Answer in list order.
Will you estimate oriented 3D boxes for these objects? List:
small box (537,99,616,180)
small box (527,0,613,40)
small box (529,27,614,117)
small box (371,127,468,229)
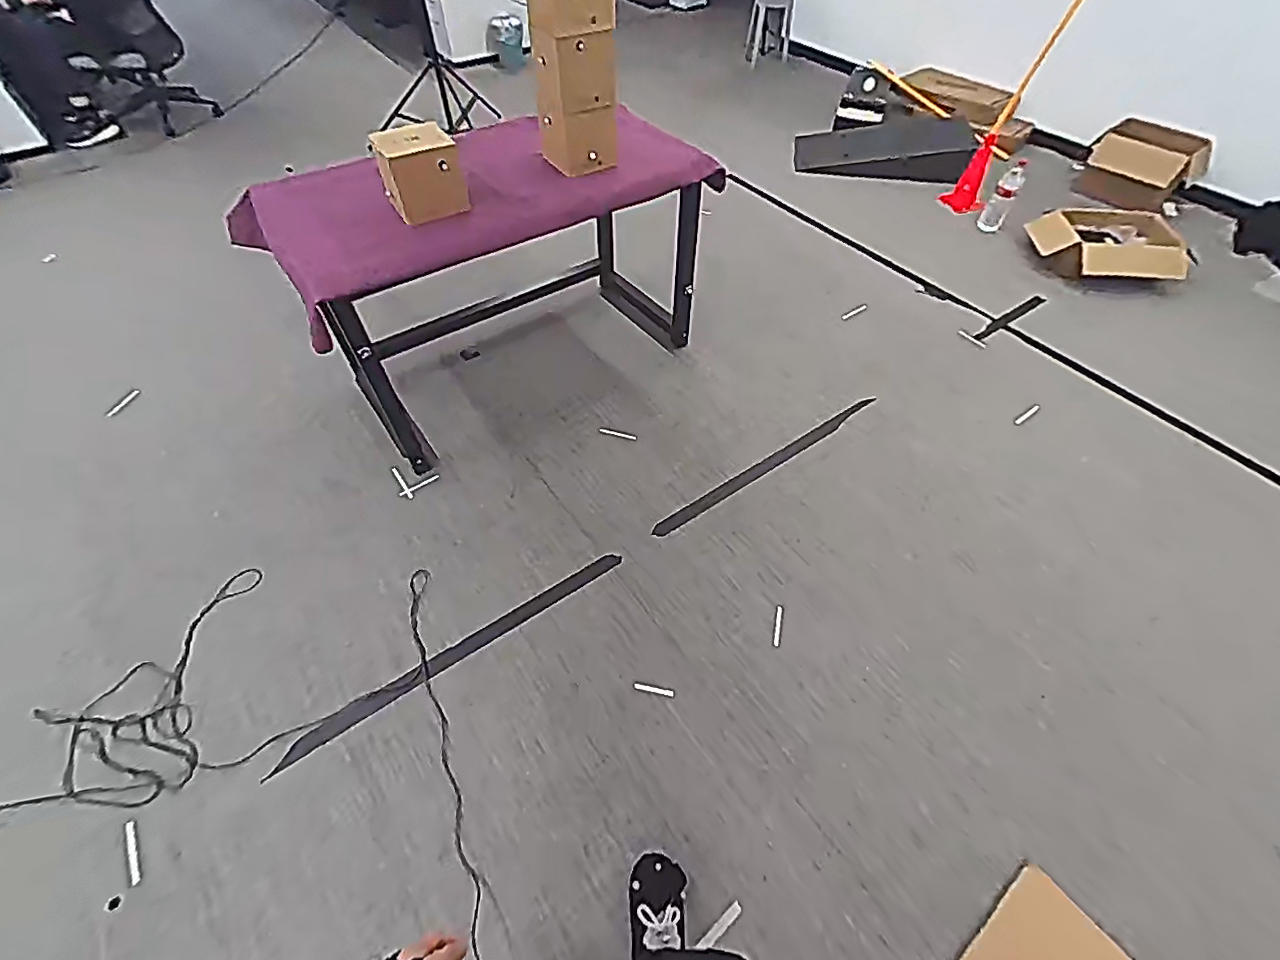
[{"bbox_3d":[-0.184,-1.015,1.593,0.168,0.176,0.179,-28,58,-19],"label":"small box"},{"bbox_3d":[-0.176,-1.205,1.327,0.168,0.176,0.179,-26,57,-18],"label":"small box"},{"bbox_3d":[-0.181,-1.111,1.460,0.168,0.176,0.179,-26,56,-18],"label":"small box"},{"bbox_3d":[-0.570,-0.792,1.421,0.179,0.176,0.168,-27,57,-19],"label":"small box"}]
